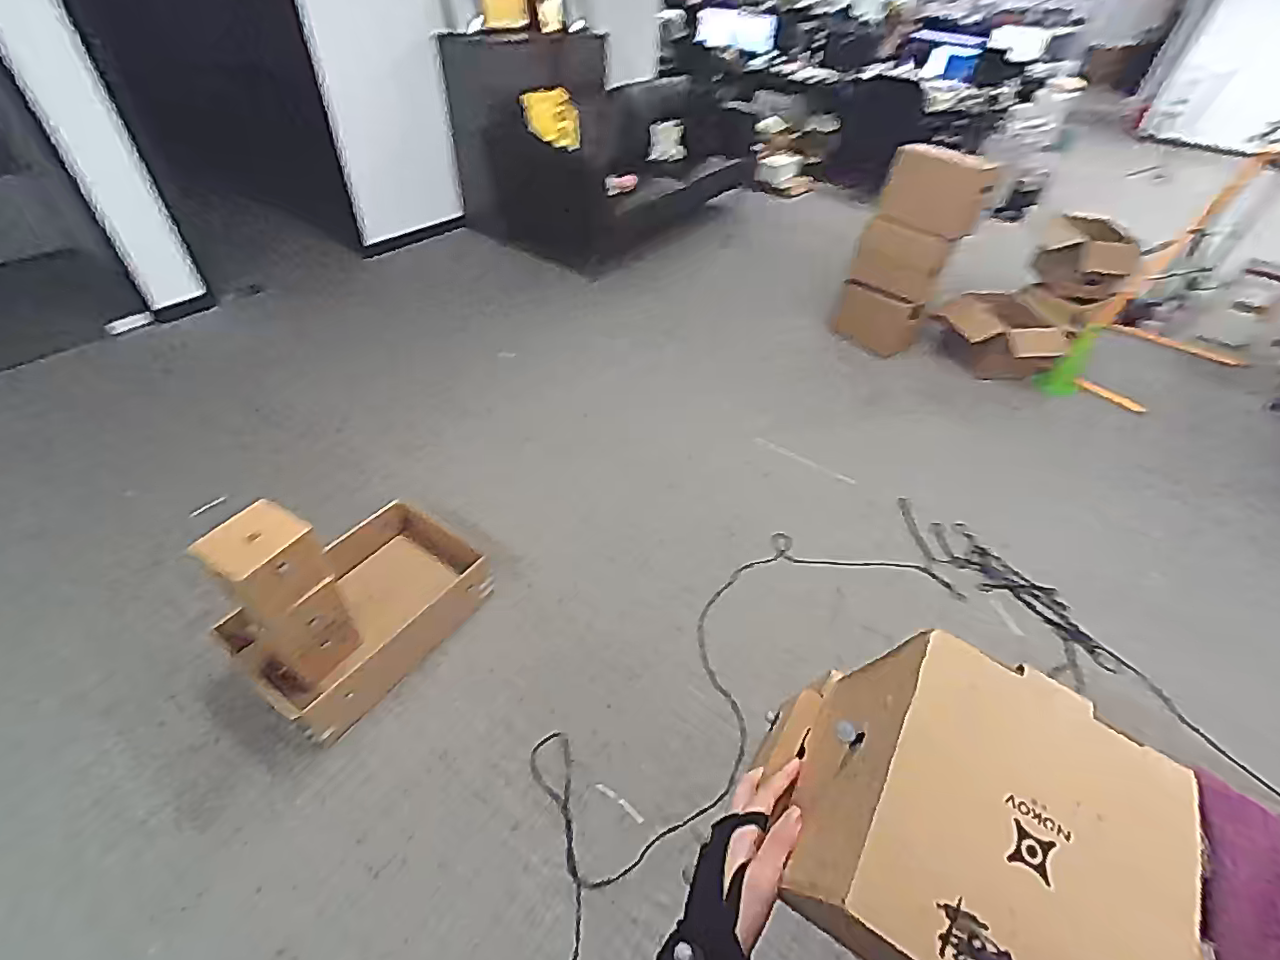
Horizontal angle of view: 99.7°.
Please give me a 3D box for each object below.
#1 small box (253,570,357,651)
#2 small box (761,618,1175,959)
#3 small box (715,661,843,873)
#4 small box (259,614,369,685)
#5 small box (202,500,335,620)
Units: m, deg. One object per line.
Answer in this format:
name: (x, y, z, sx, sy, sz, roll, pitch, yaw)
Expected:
small box: (-0.851, 0.301, 1.361, 0.179, 0.176, 0.168, 29, 47, 21)
small box: (0.203, 0.231, 0.370, 0.168, 0.176, 0.179, 29, 59, 13)
small box: (0.192, 0.309, 0.514, 0.179, 0.176, 0.168, 32, 60, 14)
small box: (-0.876, 0.420, 1.471, 0.168, 0.176, 0.179, 25, 46, 18)
small box: (-0.841, 0.185, 1.248, 0.168, 0.176, 0.179, 24, 47, 15)
